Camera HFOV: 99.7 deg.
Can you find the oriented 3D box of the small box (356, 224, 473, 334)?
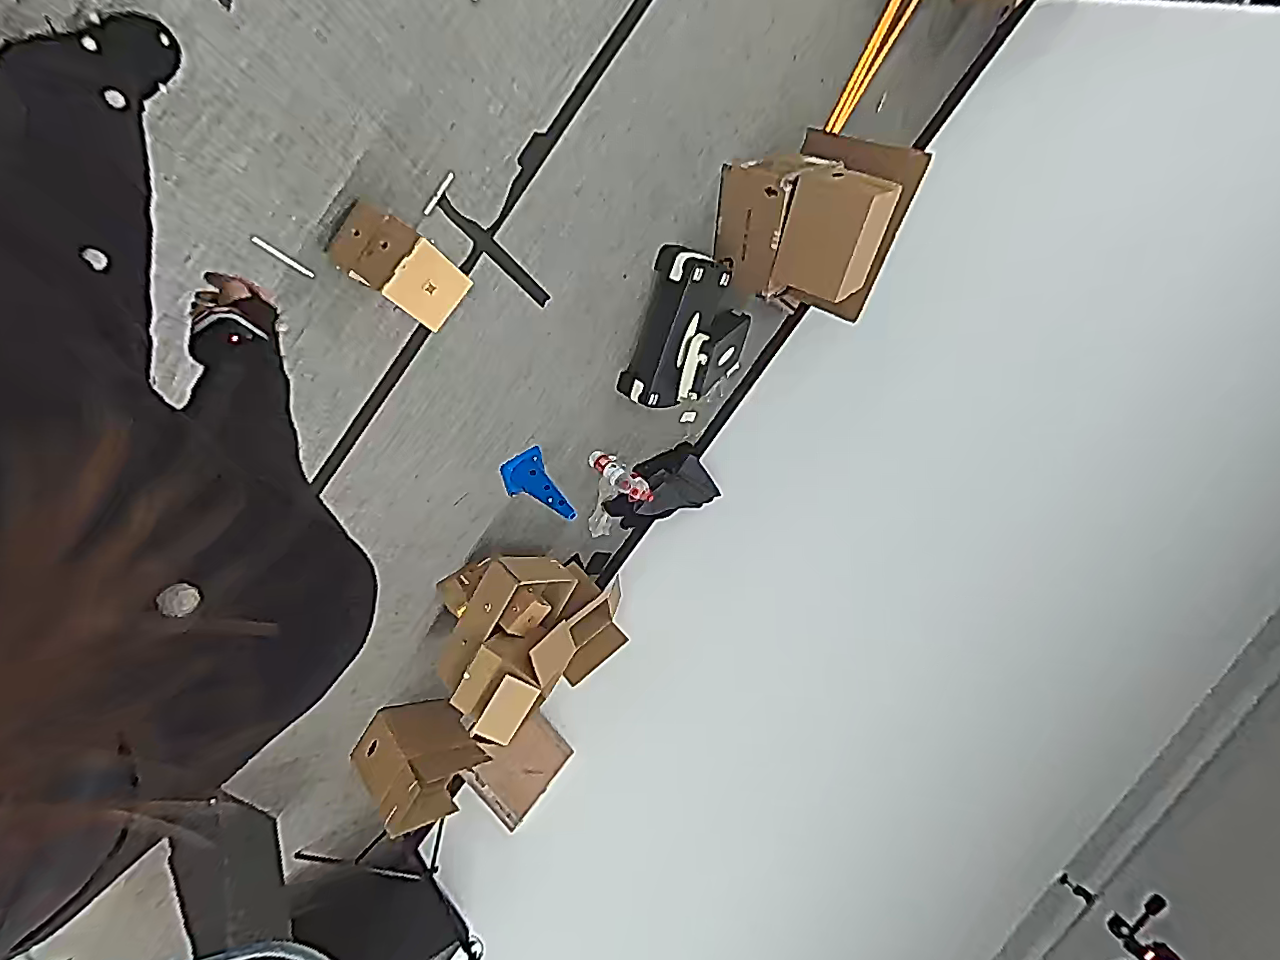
[{"bbox_3d":[-0.565,-0.507,1.356,0.168,0.176,0.179,-52,148,1],"label":"small box"}]

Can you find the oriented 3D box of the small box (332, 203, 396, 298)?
[{"bbox_3d":[-0.682,-0.594,1.431,0.179,0.176,0.168,-55,149,4],"label":"small box"}]
